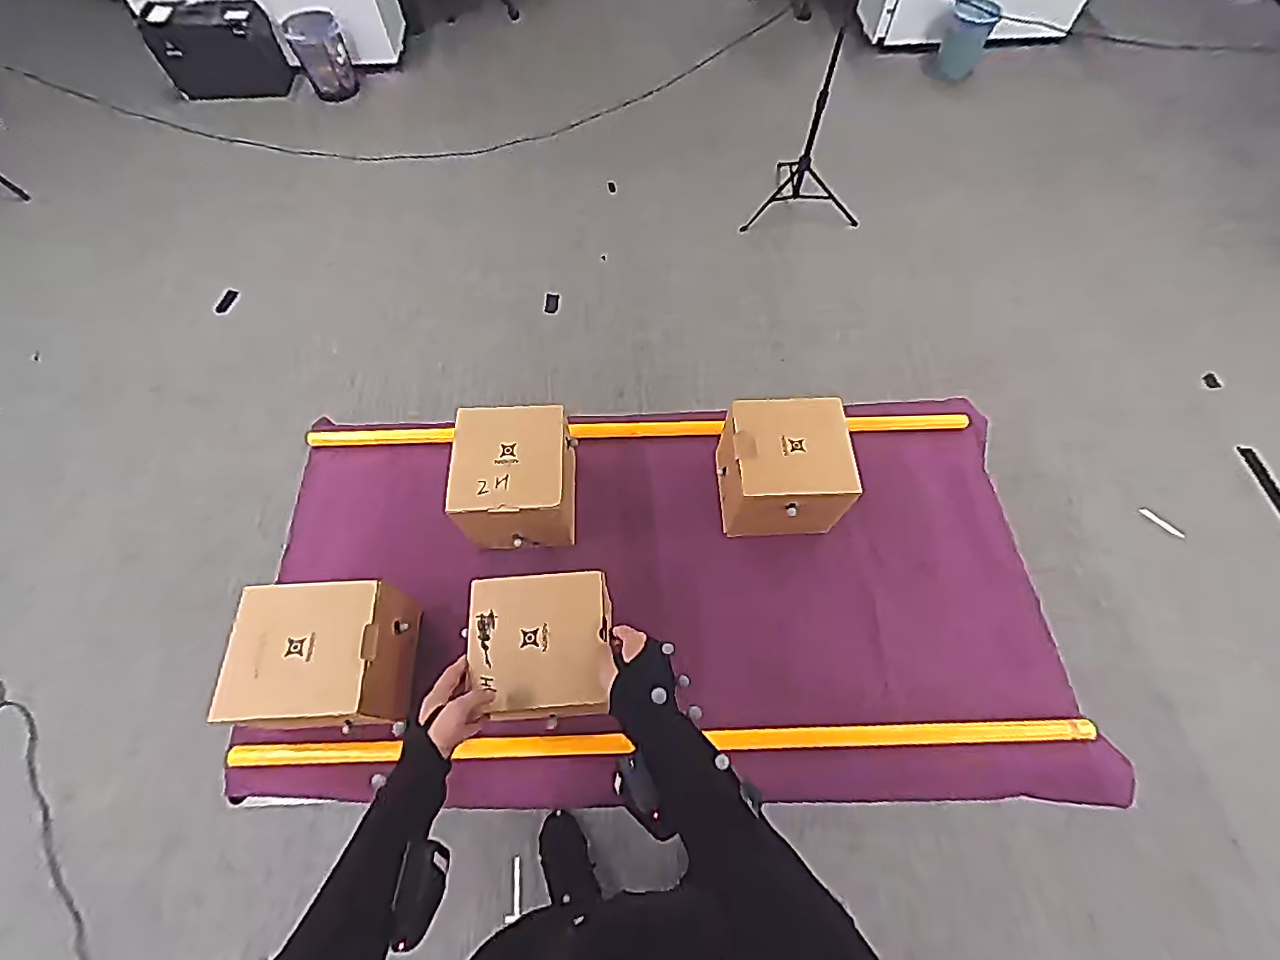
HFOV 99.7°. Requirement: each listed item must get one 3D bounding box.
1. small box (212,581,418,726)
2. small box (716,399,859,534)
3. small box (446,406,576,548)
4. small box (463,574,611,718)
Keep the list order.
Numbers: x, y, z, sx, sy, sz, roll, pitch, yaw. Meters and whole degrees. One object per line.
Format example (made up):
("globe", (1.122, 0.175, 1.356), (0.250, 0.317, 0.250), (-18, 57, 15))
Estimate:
("small box", (-0.425, 0.243, 0.746), (0.179, 0.176, 0.168), (-2, 62, -3))
("small box", (0.226, -0.016, 0.880), (0.179, 0.176, 0.168), (-2, 64, 0))
("small box", (-0.196, -0.001, 0.872), (0.168, 0.176, 0.179), (-2, 65, -1))
("small box", (-0.130, 0.235, 0.752), (0.179, 0.176, 0.168), (-3, 63, -2))
